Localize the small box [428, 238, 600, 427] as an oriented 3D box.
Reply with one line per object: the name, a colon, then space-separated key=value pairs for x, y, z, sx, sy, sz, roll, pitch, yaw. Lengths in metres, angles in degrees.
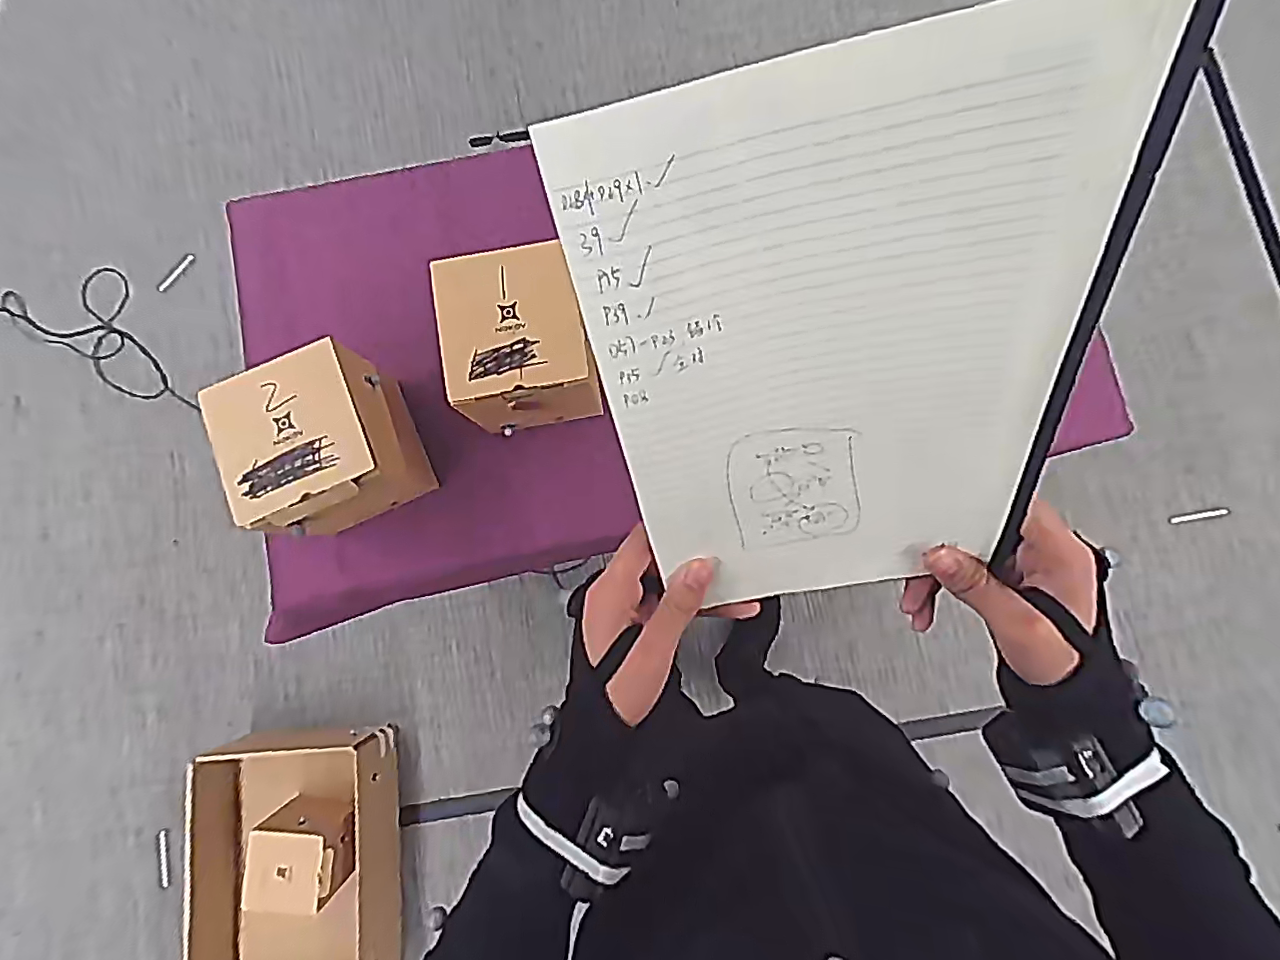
small box: x=-0.149 y=-0.172 z=0.693 sx=0.168 sy=0.176 sz=0.179 roll=-10 pitch=82 yaw=0

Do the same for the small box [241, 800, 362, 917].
small box: x=-0.782 y=0.878 z=1.269 sx=0.179 sy=0.176 sz=0.168 roll=3 pitch=84 yaw=1
